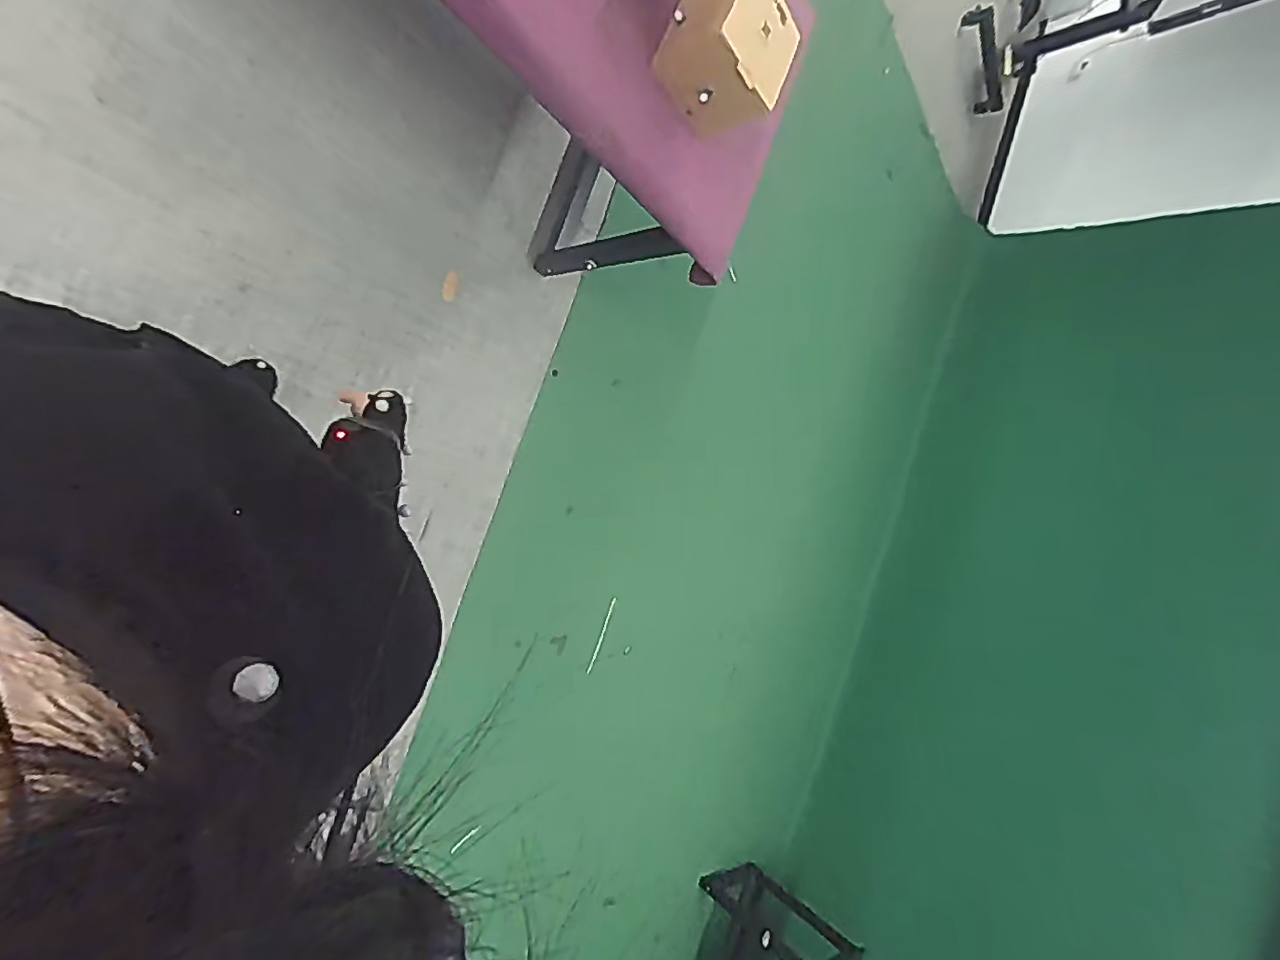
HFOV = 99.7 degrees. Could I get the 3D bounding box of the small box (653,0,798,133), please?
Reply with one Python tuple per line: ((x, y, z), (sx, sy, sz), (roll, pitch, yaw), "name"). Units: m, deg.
((0.148, -0.770, 0.972), (0.168, 0.176, 0.179), (31, 79, -44), "small box")
